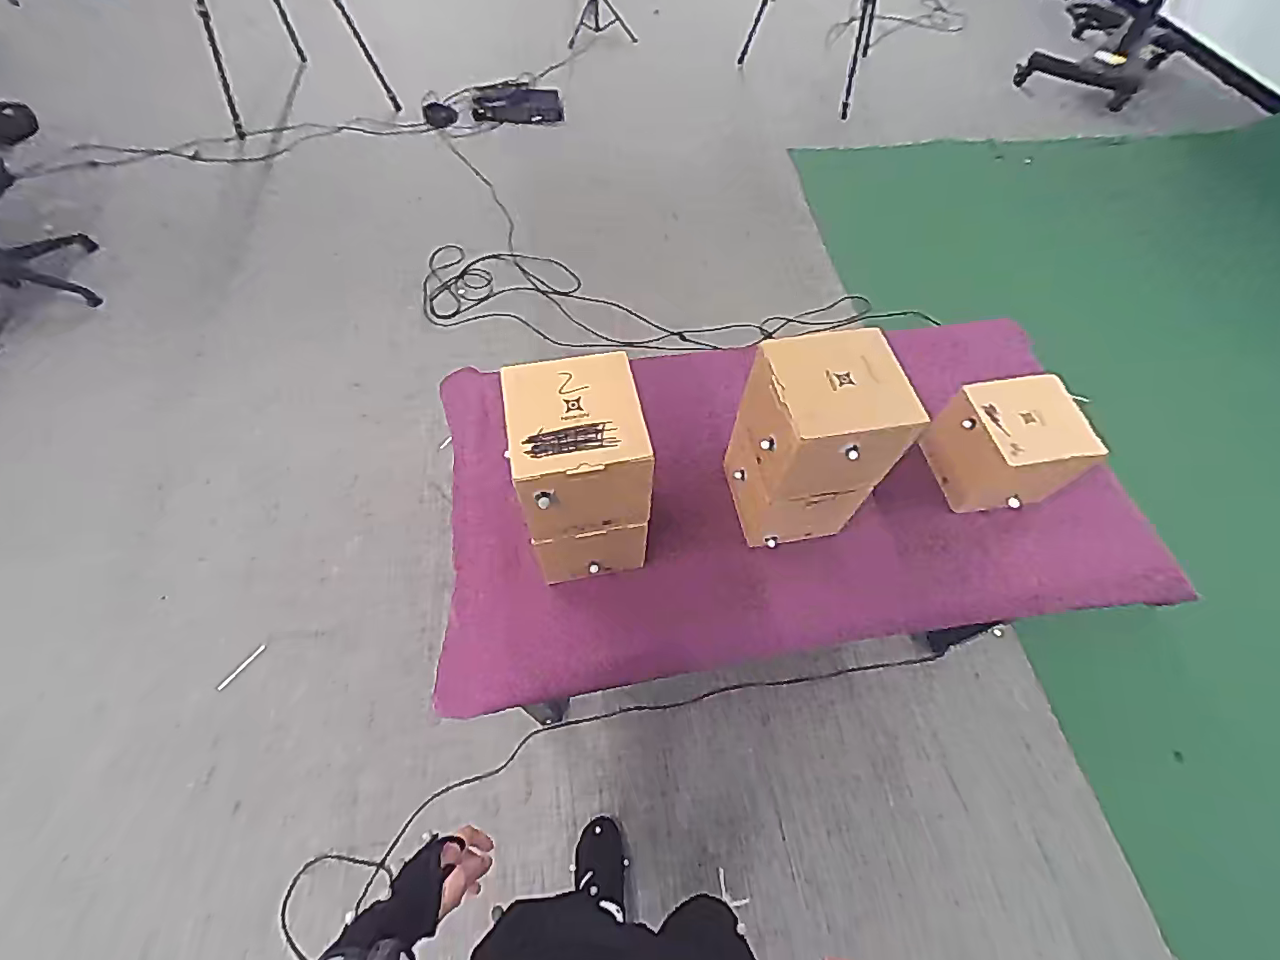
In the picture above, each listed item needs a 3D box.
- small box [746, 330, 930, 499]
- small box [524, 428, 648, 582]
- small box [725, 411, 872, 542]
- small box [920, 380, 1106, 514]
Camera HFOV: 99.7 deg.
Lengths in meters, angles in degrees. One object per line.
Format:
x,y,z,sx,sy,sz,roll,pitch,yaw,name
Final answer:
0.259,-0.086,0.766,0.179,0.176,0.168,-7,61,-8,small box
-0.087,0.043,0.863,0.168,0.176,0.179,-9,61,-7,small box
0.252,-0.007,0.908,0.168,0.176,0.179,-8,60,-7,small box
0.638,-0.054,0.951,0.179,0.176,0.168,-7,60,-6,small box
